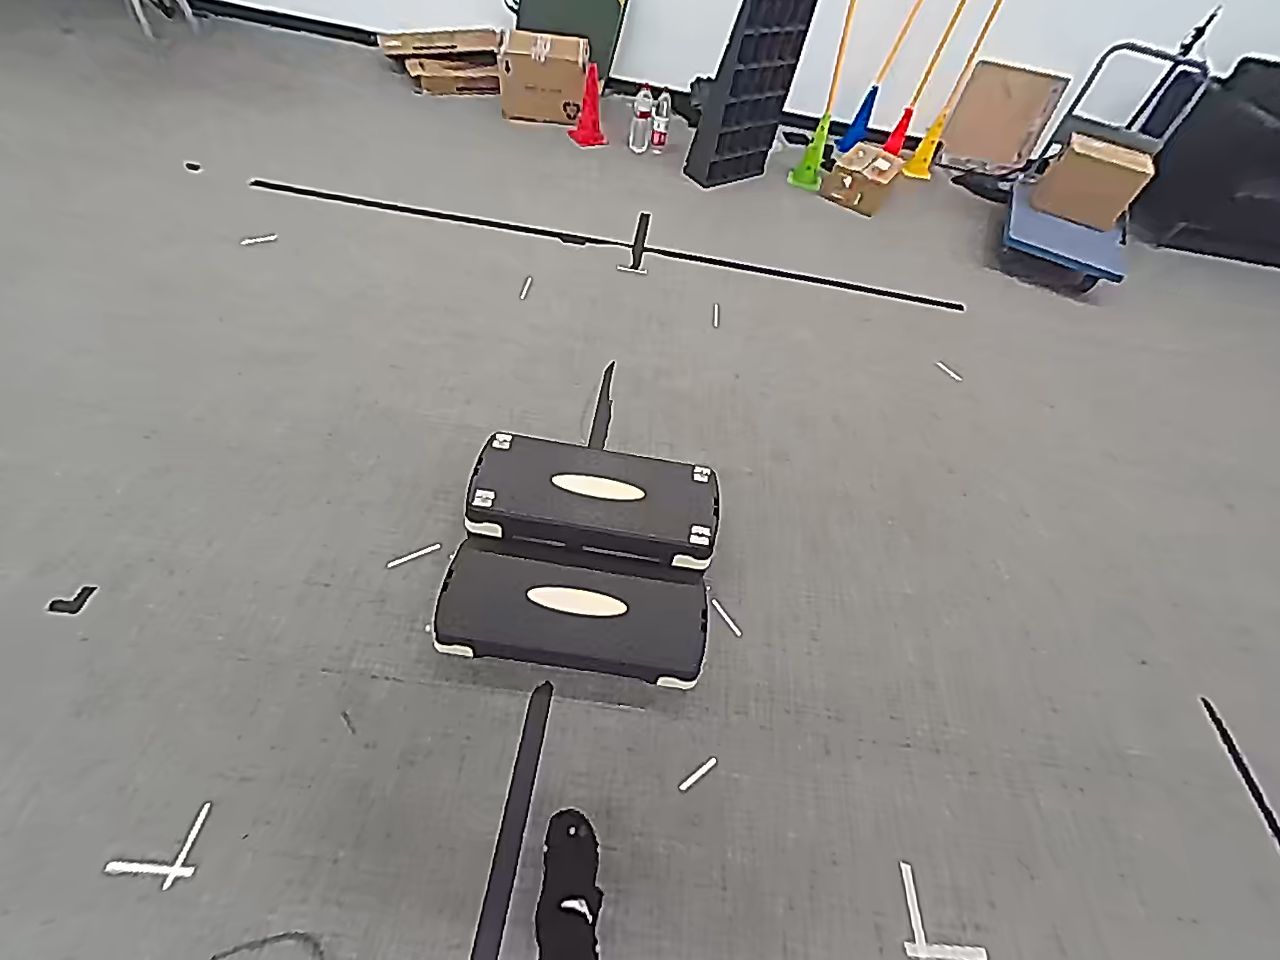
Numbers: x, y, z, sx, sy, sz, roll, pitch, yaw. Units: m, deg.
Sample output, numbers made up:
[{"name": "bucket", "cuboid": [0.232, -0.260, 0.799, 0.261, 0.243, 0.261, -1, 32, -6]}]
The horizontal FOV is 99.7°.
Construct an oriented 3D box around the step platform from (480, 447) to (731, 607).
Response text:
[{"name": "step platform", "cuboid": [-0.089, 0.127, 1.519, 0.684, 0.204, 0.286, 13, 51, 0]}]
